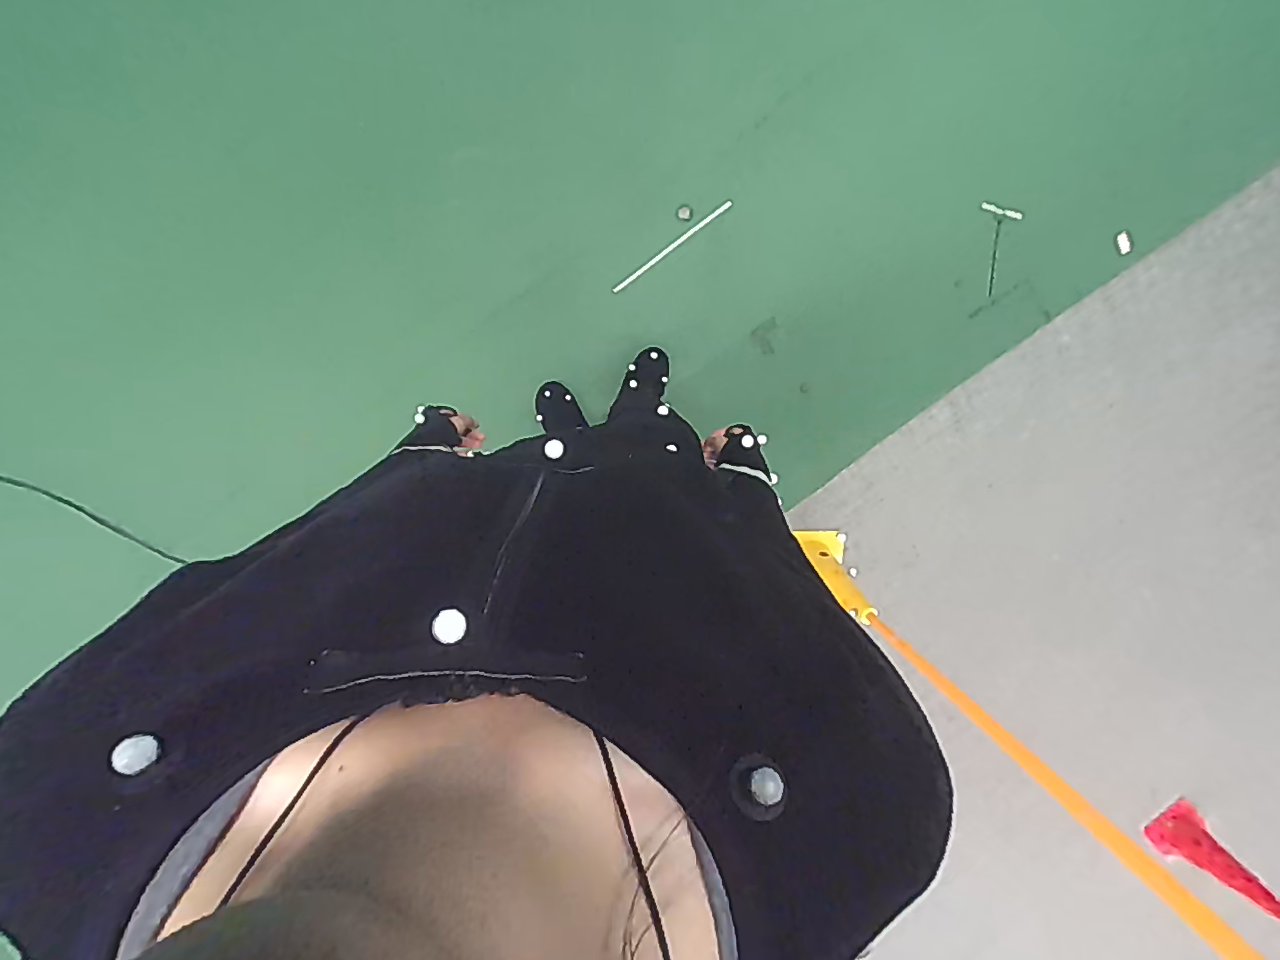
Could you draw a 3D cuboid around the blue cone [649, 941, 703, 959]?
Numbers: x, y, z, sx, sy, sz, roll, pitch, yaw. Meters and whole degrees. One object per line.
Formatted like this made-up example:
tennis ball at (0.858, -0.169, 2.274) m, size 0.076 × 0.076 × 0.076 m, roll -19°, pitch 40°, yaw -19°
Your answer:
blue cone at (0.132, 1.673, 1.667) m, size 0.192 × 0.380 × 0.193 m, roll 7°, pitch 103°, yaw -8°
